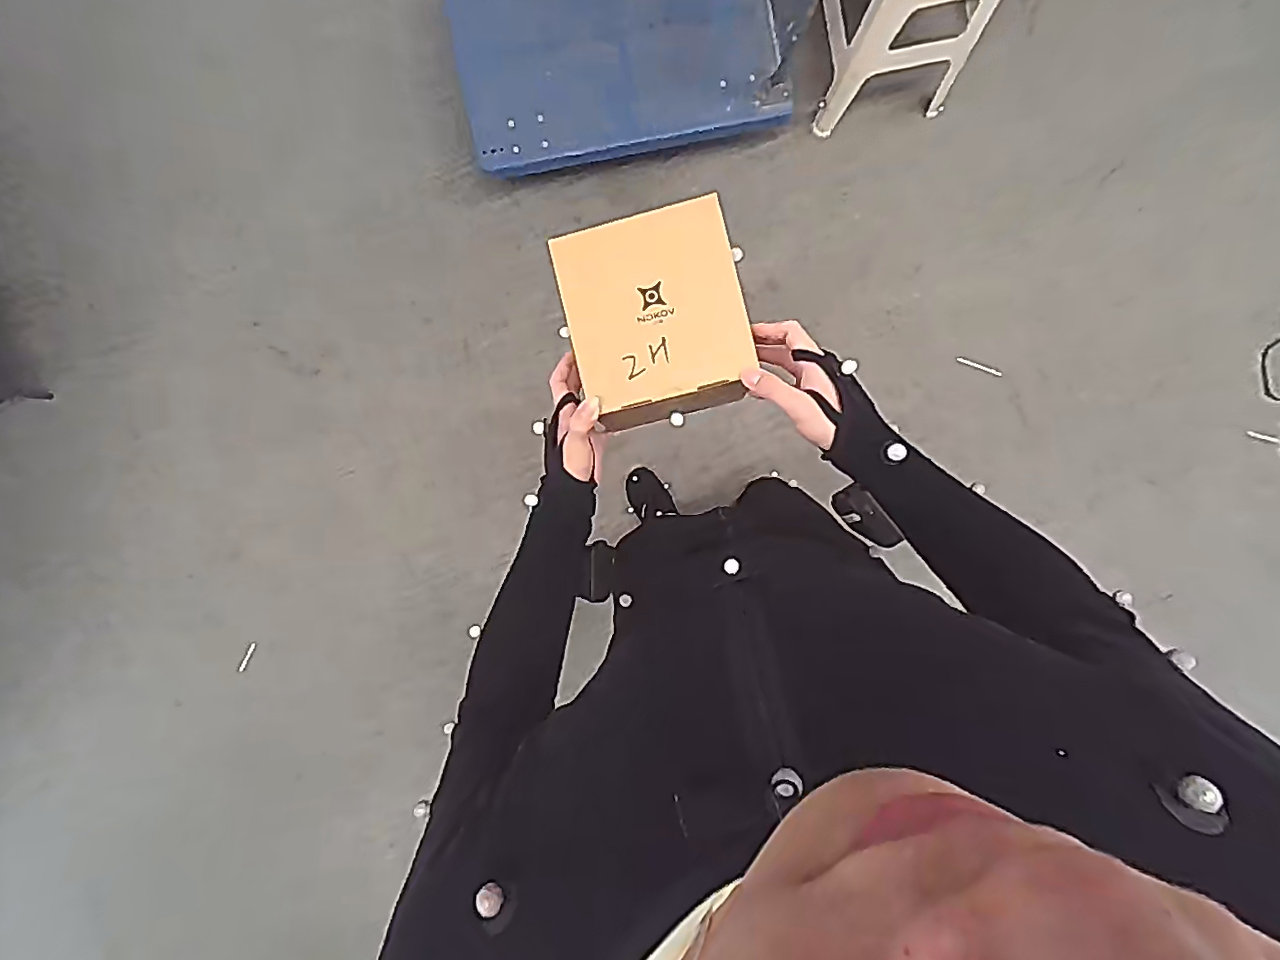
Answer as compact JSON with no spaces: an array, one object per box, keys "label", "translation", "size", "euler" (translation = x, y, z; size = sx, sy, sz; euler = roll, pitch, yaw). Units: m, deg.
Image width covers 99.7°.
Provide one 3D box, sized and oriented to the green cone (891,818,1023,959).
[{"label":"green cone","translation":[0.866,1.128,1.431],"size":[0.202,0.368,0.200],"euler":[-23,91,-1]}]
